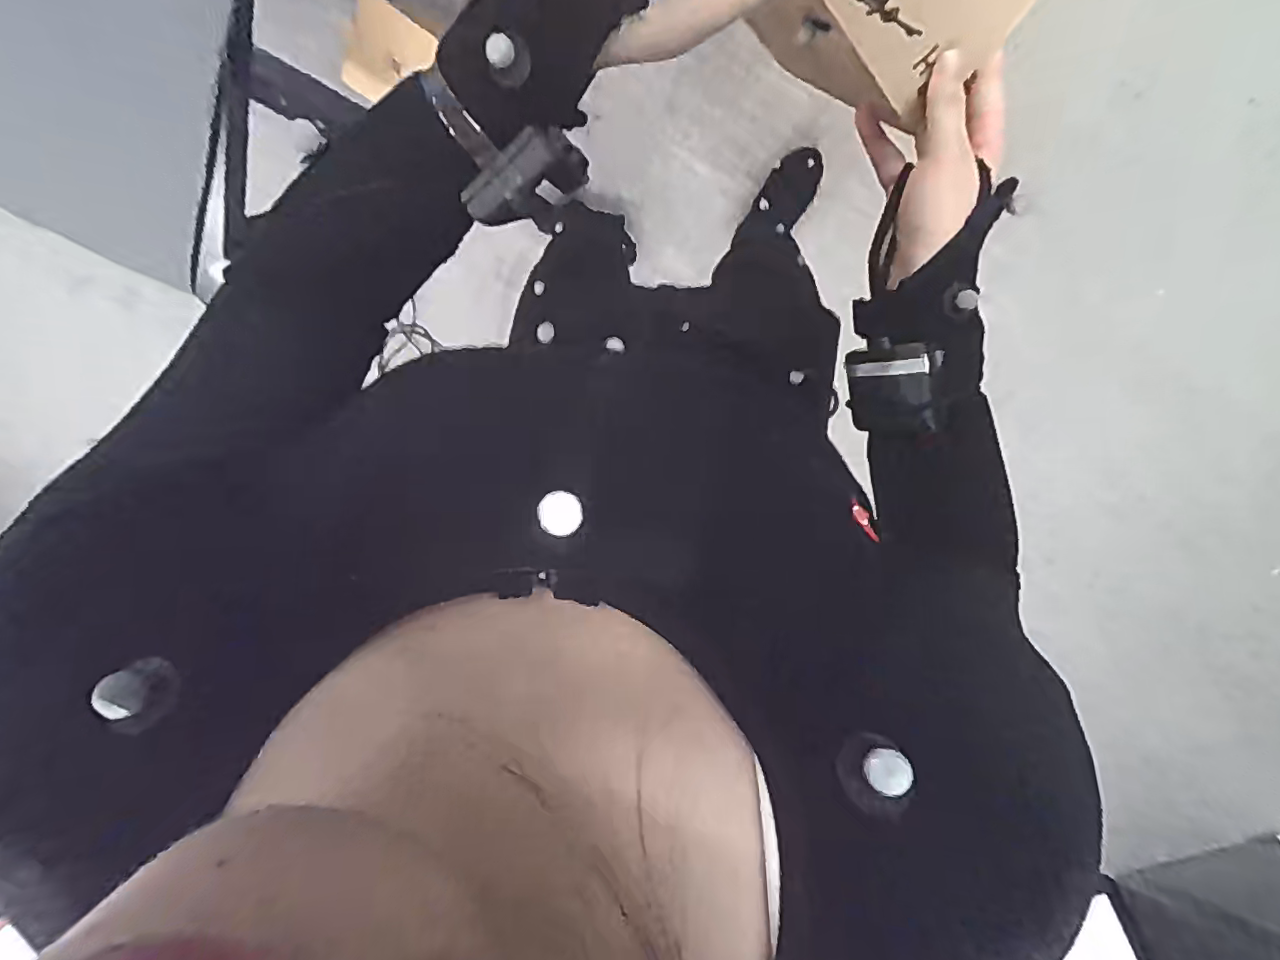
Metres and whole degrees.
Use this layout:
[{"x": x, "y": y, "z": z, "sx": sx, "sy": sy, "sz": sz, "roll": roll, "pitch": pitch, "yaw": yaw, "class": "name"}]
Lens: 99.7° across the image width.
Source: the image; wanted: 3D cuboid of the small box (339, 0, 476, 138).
[{"x": -0.453, "y": -0.822, "z": 1.075, "sx": 0.179, "sy": 0.176, "sz": 0.168, "roll": 31, "pitch": 125, "yaw": -12, "class": "small box"}]

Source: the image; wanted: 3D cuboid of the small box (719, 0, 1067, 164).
[{"x": 0.150, "y": -0.343, "z": 0.318, "sx": 0.168, "sy": 0.176, "sz": 0.179, "roll": 16, "pitch": 128, "yaw": -42, "class": "small box"}]
